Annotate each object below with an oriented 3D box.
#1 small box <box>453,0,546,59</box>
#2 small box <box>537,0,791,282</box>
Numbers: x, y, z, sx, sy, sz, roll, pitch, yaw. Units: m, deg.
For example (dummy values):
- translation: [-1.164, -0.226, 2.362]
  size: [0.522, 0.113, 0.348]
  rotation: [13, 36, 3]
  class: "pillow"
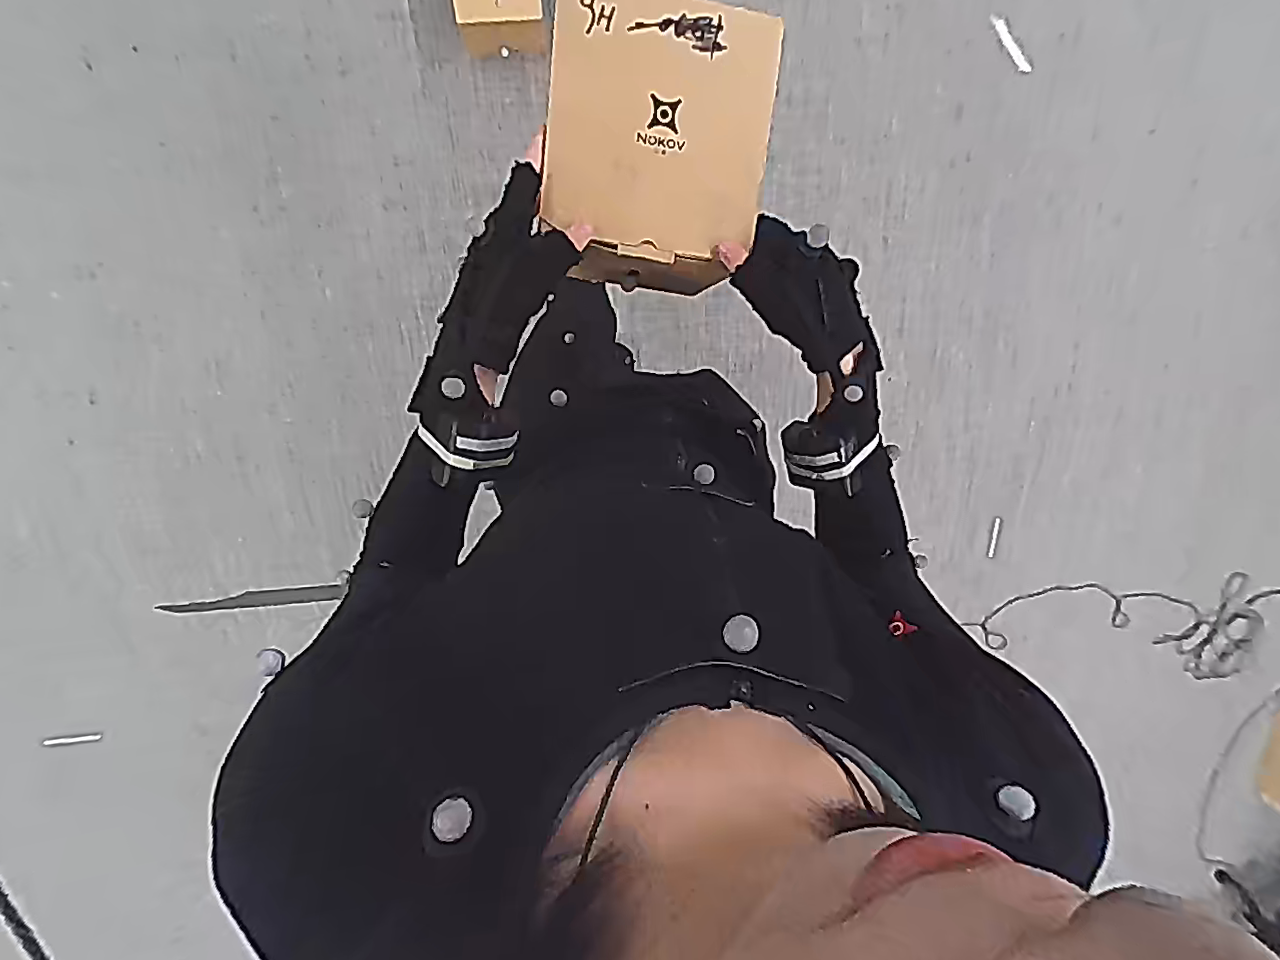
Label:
- translation: [-0.281, -0.974, 1.072]
  size: [0.168, 0.176, 0.179]
  rotation: [-6, 111, -5]
  class: "small box"
- translation: [0.005, -0.278, 0.464]
  size: [0.168, 0.176, 0.179]
  rotation: [5, 101, -10]
  class: "small box"
